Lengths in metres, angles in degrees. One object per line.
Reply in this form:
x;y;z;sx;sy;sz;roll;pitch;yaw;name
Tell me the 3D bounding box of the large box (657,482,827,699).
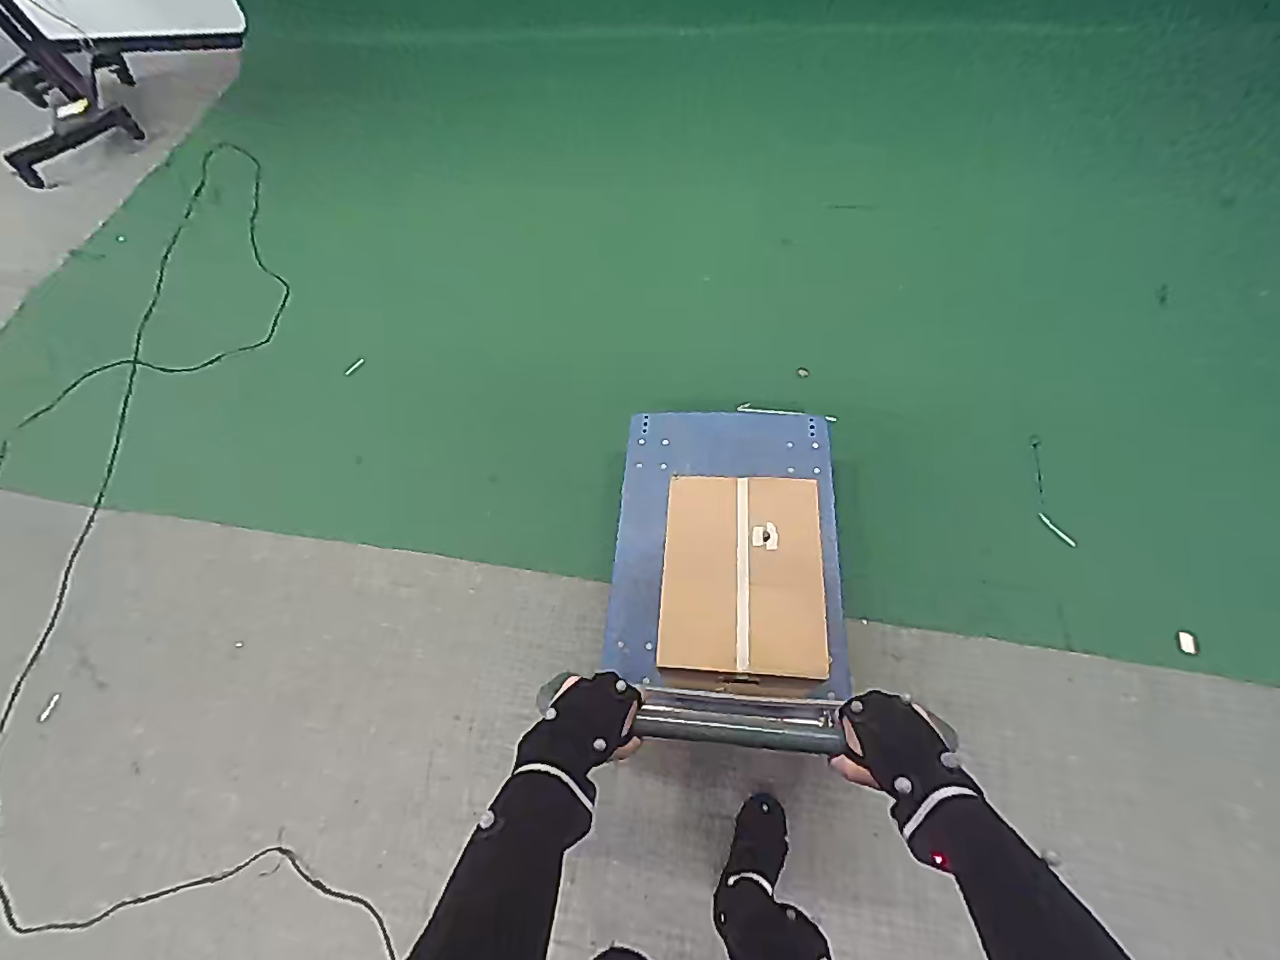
0.214;0.254;1.210;0.320;0.320;0.408;2;61;7;large box
